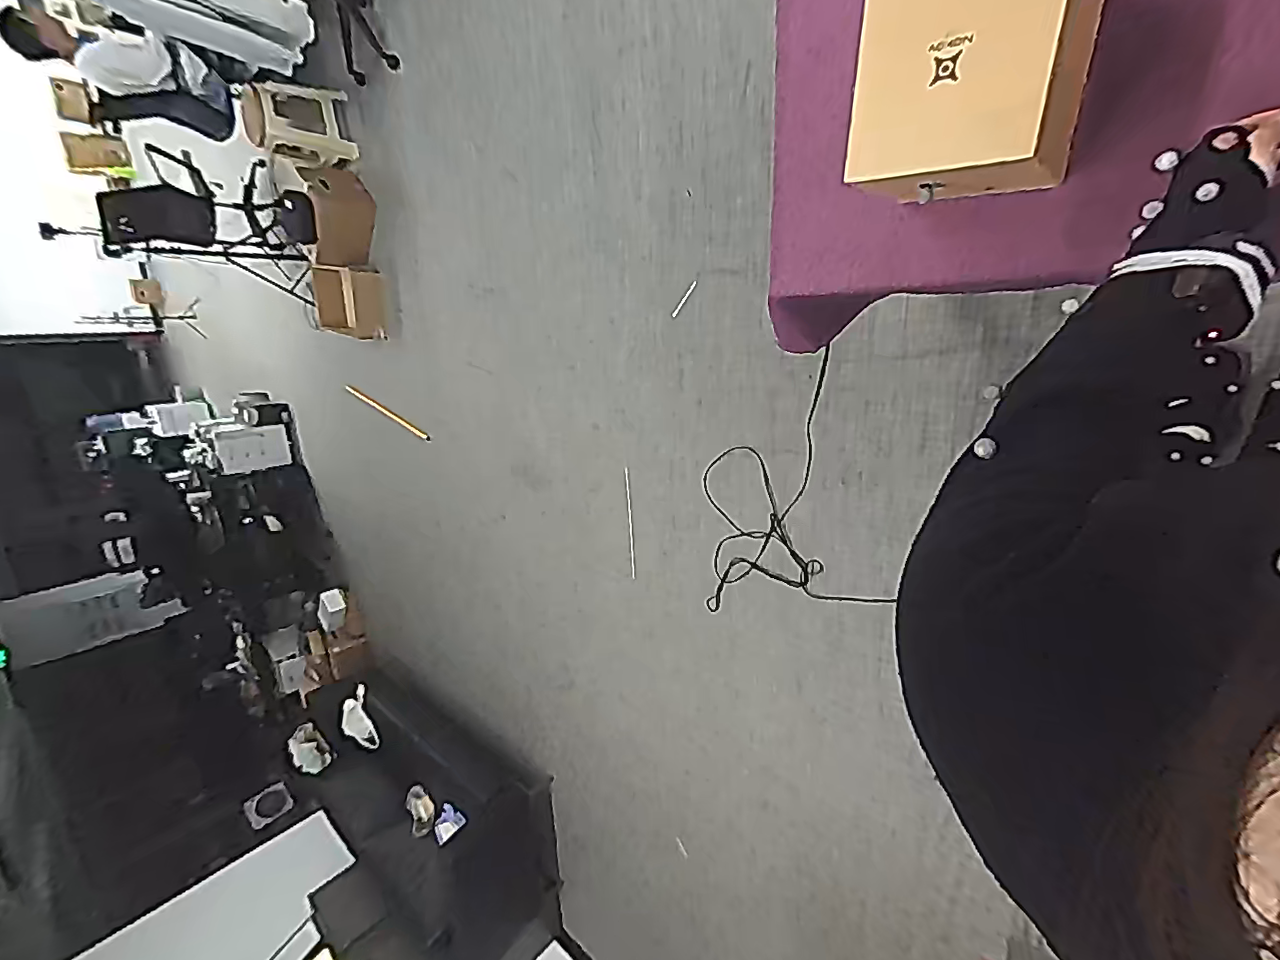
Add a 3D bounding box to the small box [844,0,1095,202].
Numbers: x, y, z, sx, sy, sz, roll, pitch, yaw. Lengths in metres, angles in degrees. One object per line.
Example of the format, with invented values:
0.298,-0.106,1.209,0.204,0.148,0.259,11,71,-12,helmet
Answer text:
0.329,-0.388,0.543,0.168,0.176,0.179,17,113,40,small box
